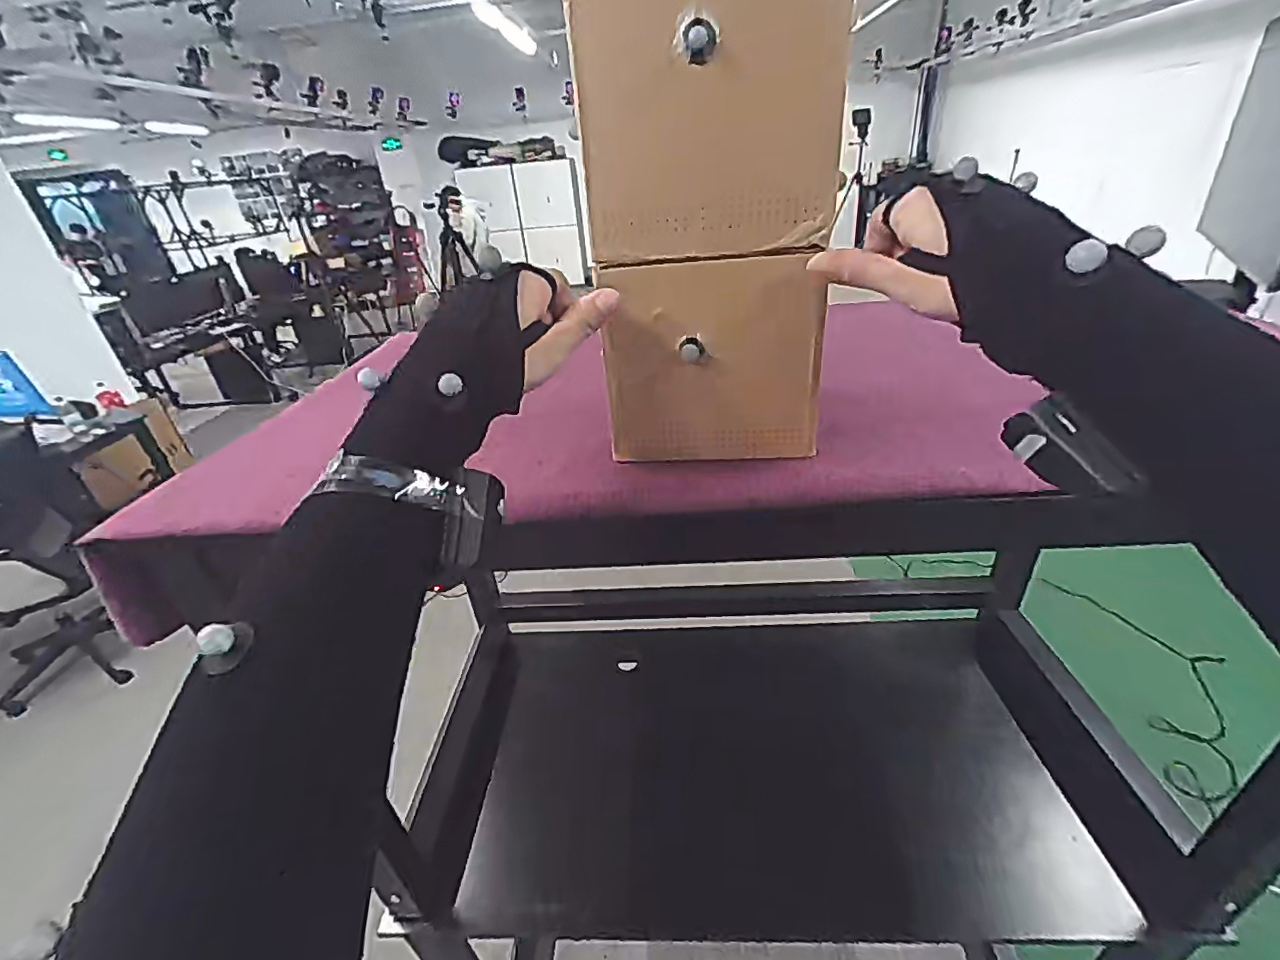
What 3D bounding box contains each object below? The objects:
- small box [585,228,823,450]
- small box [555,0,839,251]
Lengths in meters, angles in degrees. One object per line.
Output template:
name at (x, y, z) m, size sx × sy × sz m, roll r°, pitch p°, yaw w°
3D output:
small box at (0.062, -0.134, 0.494) m, size 0.179 × 0.176 × 0.168 m, roll -2°, pitch 29°, yaw 8°
small box at (0.048, -0.276, 0.414) m, size 0.179 × 0.176 × 0.168 m, roll -1°, pitch 30°, yaw 9°
